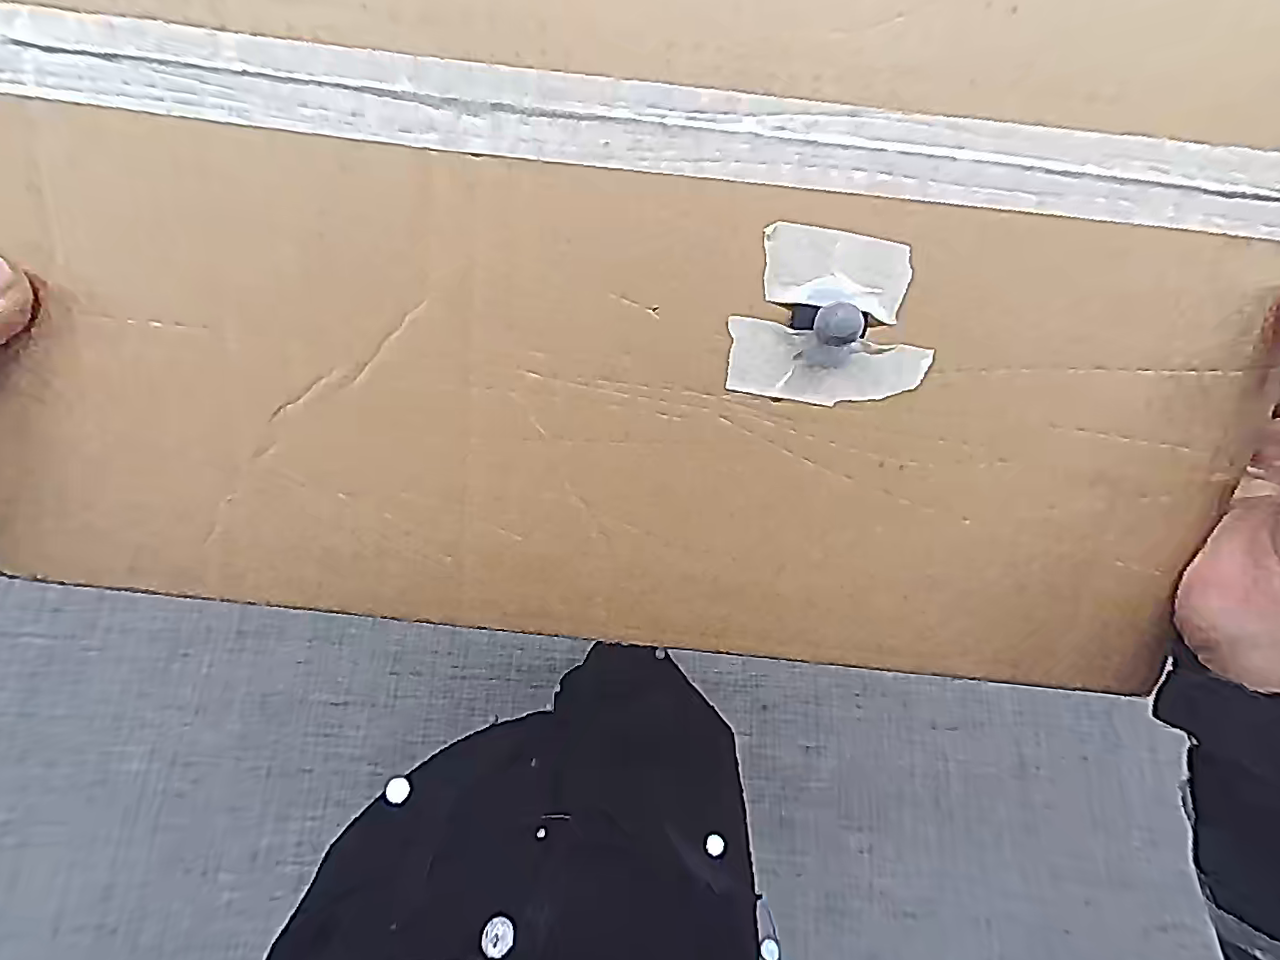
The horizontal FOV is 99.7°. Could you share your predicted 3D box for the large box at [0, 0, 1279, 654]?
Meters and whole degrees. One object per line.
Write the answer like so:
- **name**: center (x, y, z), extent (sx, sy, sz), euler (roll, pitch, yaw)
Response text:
- **large box**: center (-0.006, -0.133, 0.307), extent (0.408, 0.320, 0.320), euler (6, 105, -2)
